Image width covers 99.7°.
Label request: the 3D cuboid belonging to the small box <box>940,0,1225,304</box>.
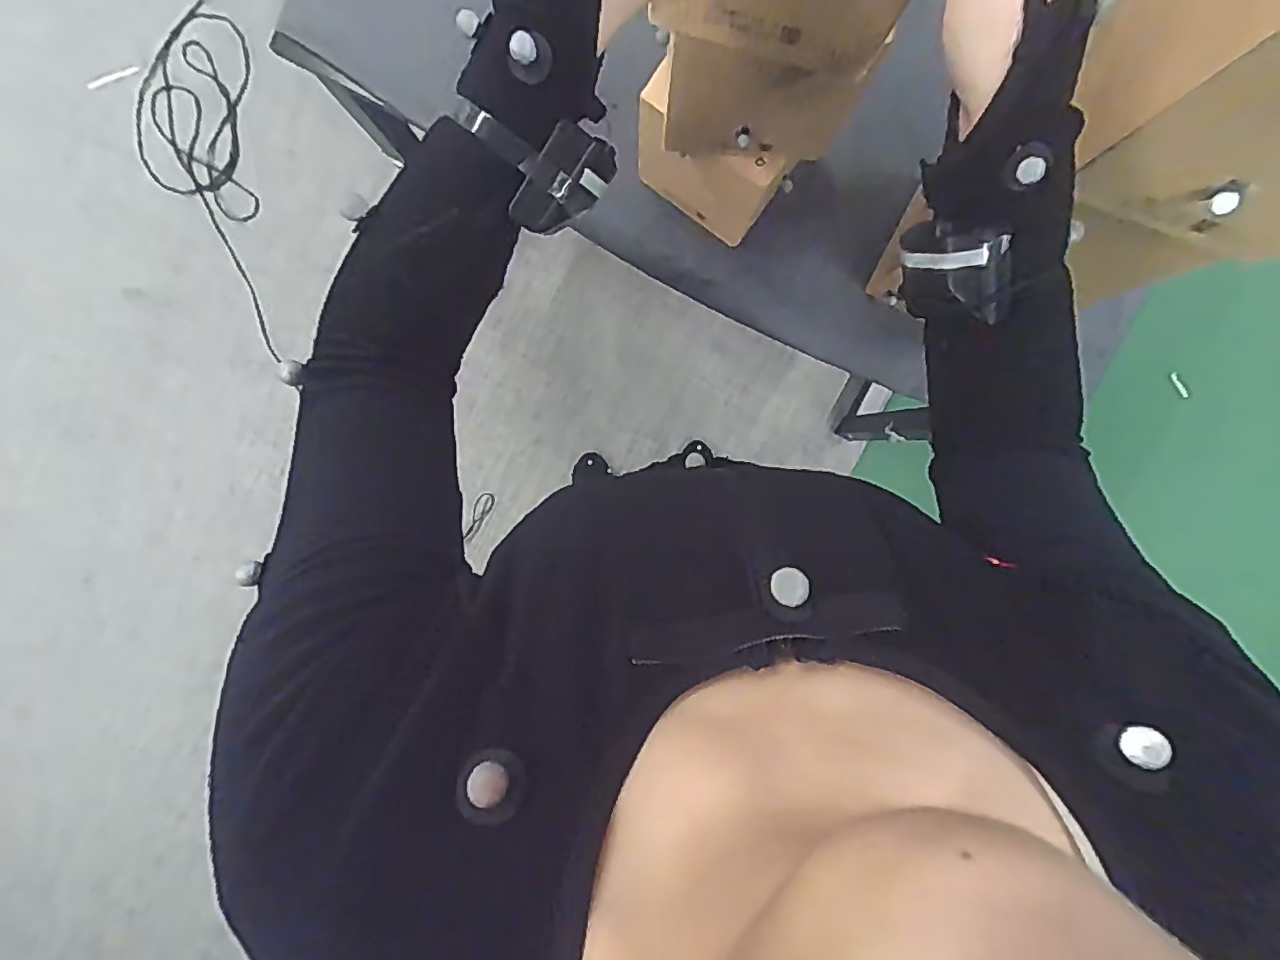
[{"bbox_3d":[0.413,-0.289,0.488,0.168,0.176,0.179,23,93,0],"label":"small box"}]

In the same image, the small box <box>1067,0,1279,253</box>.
[{"bbox_3d":[0.412,-0.272,0.323,0.168,0.176,0.179,20,91,1],"label":"small box"}]

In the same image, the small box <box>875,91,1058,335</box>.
[{"bbox_3d":[0.413,-0.298,0.650,0.168,0.176,0.179,27,91,-1],"label":"small box"}]

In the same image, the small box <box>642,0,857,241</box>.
[{"bbox_3d":[0.111,-0.429,0.642,0.168,0.176,0.179,35,91,-2],"label":"small box"}]
